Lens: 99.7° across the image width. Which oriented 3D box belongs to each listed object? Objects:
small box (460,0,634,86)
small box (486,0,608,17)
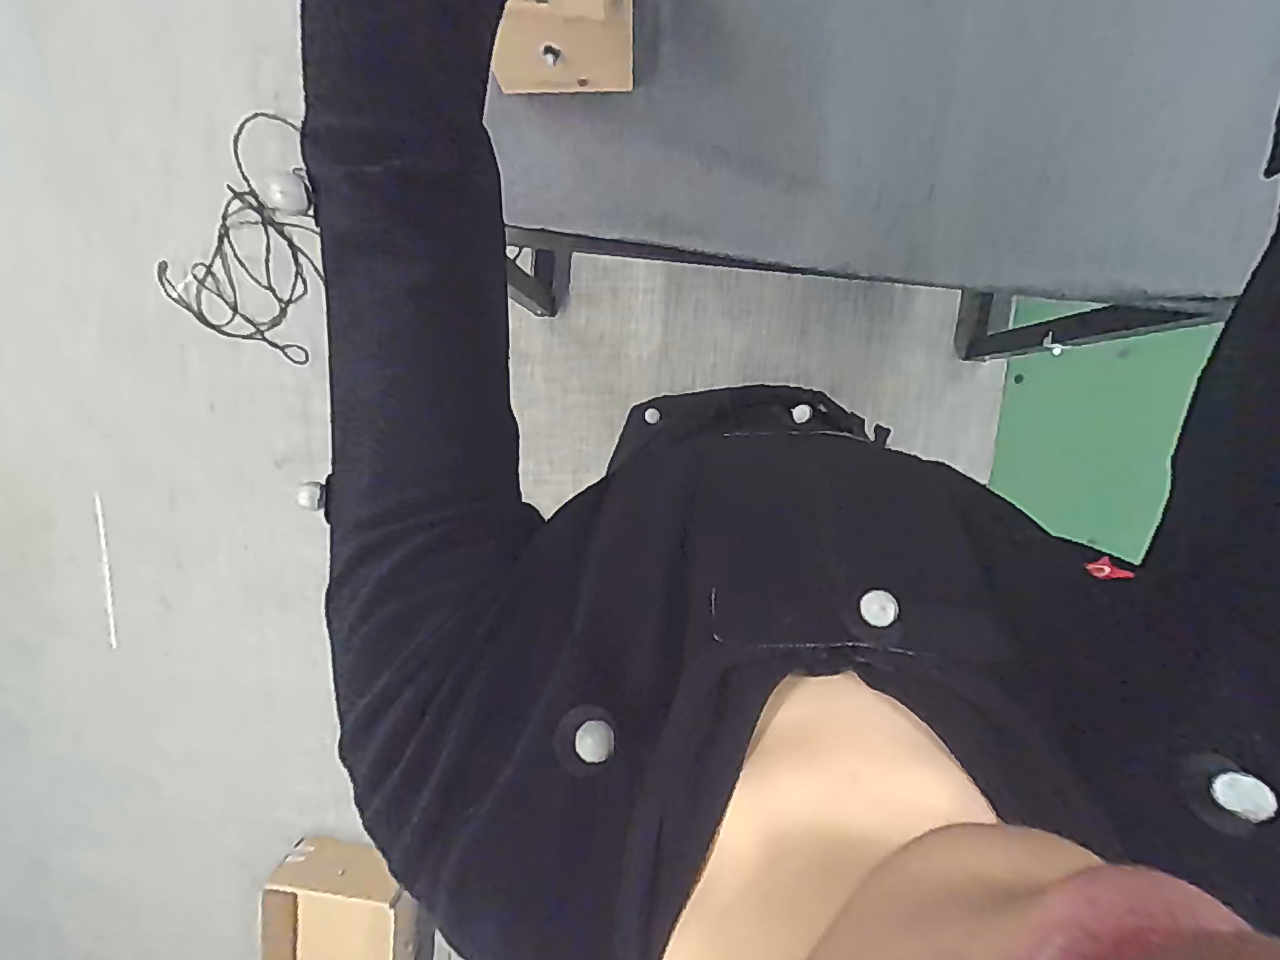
[{"bbox_3d":[-0.093,-0.567,0.591,0.168,0.176,0.179,1,97,2],"label":"small box"},{"bbox_3d":[-0.102,-0.531,0.430,0.168,0.176,0.179,9,98,1],"label":"small box"}]
